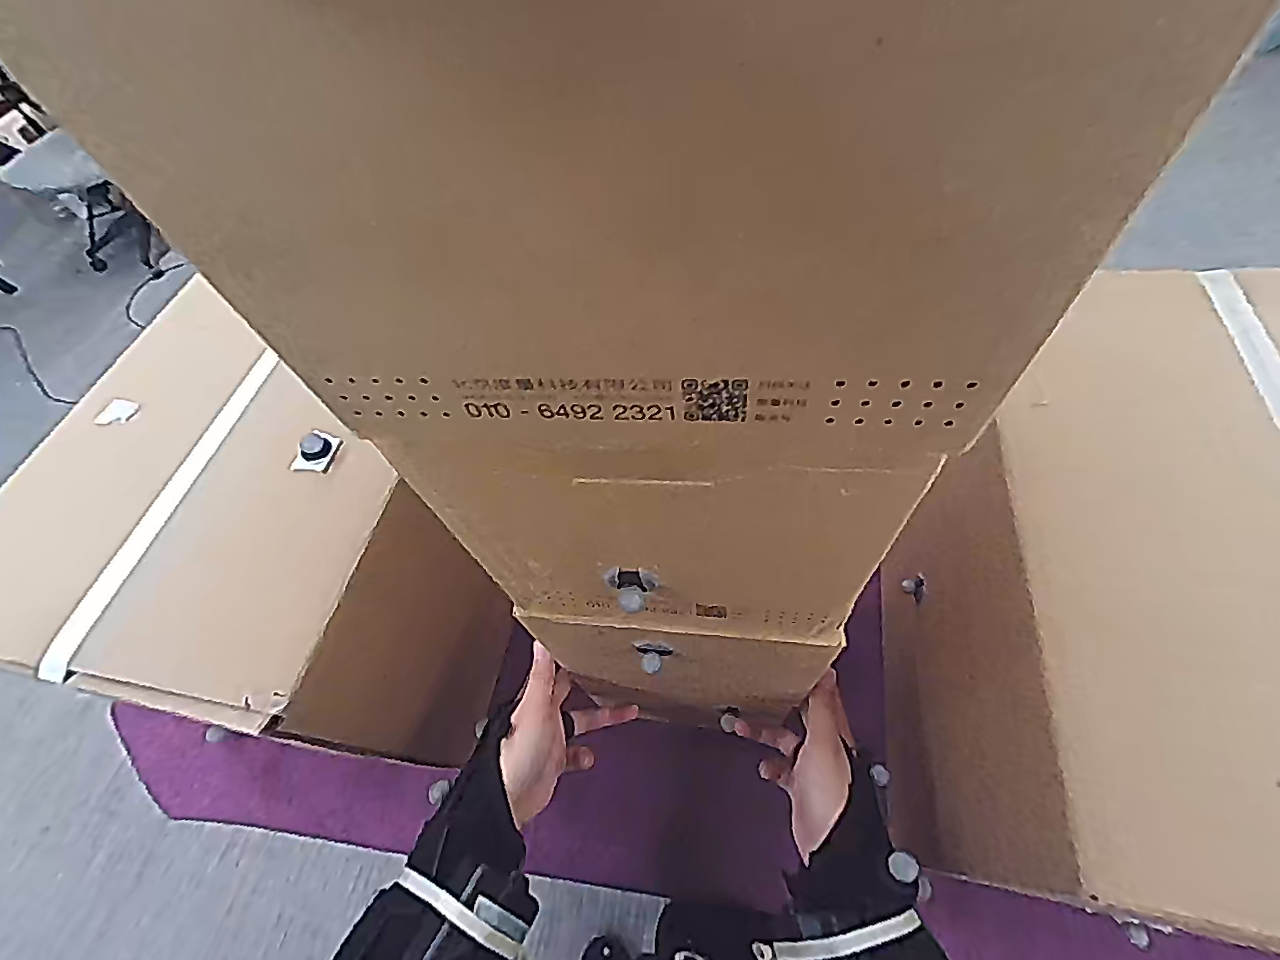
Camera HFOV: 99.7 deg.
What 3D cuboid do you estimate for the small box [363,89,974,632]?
[{"bbox_3d":[0.018,-0.045,0.252,0.168,0.176,0.179,2,59,9],"label":"small box"}]

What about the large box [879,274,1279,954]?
[{"bbox_3d":[0.385,0.102,0.416,0.320,0.320,0.408,6,58,11],"label":"large box"}]
